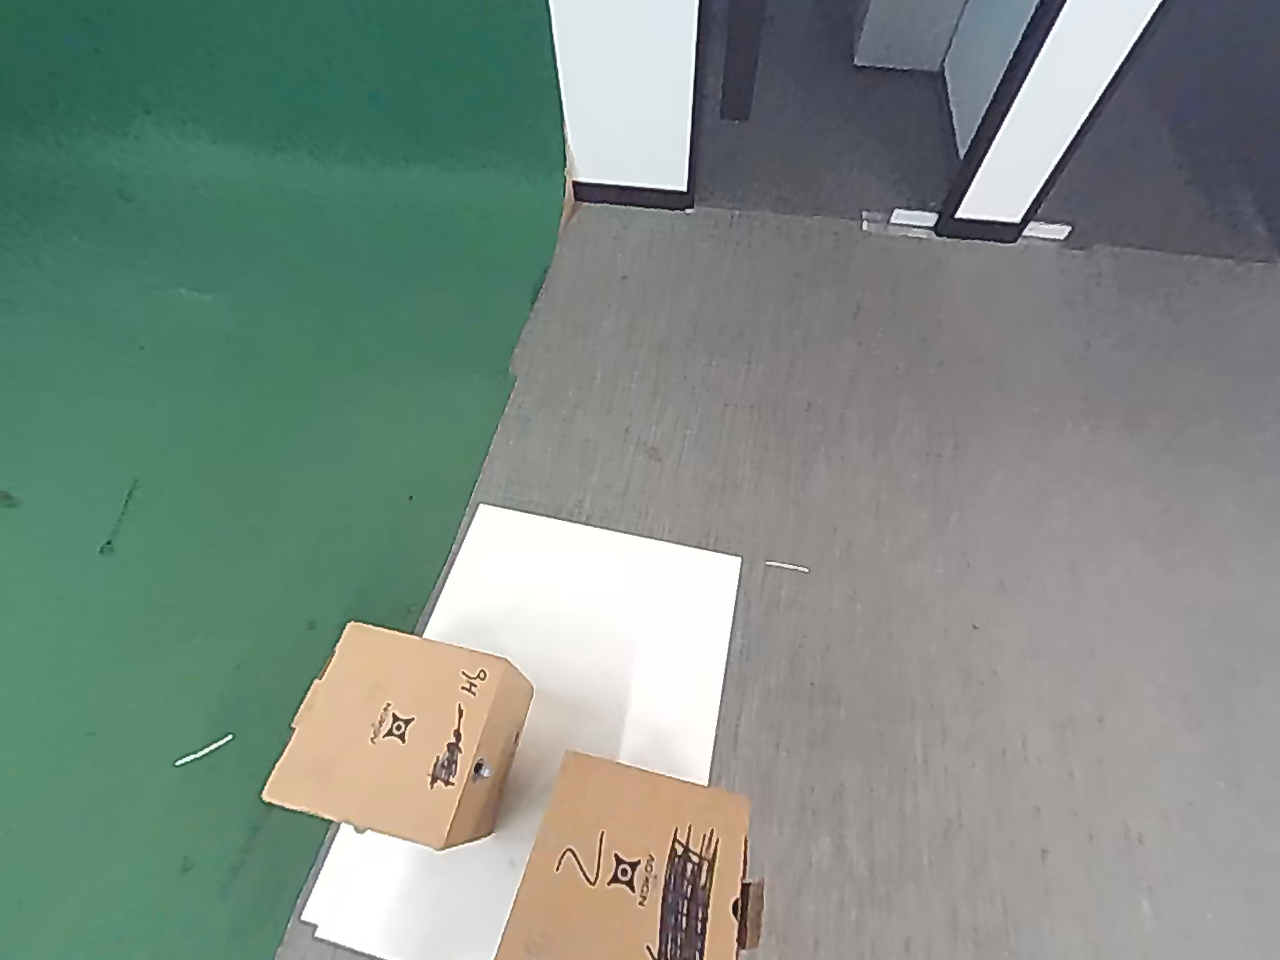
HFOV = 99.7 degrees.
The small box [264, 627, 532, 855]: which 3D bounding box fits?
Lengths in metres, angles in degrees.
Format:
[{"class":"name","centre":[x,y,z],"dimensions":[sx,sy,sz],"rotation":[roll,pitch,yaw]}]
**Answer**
[{"class":"small box","centre":[-0.233,0.277,0.577],"dimensions":[0.179,0.176,0.168],"rotation":[11,60,7]}]
